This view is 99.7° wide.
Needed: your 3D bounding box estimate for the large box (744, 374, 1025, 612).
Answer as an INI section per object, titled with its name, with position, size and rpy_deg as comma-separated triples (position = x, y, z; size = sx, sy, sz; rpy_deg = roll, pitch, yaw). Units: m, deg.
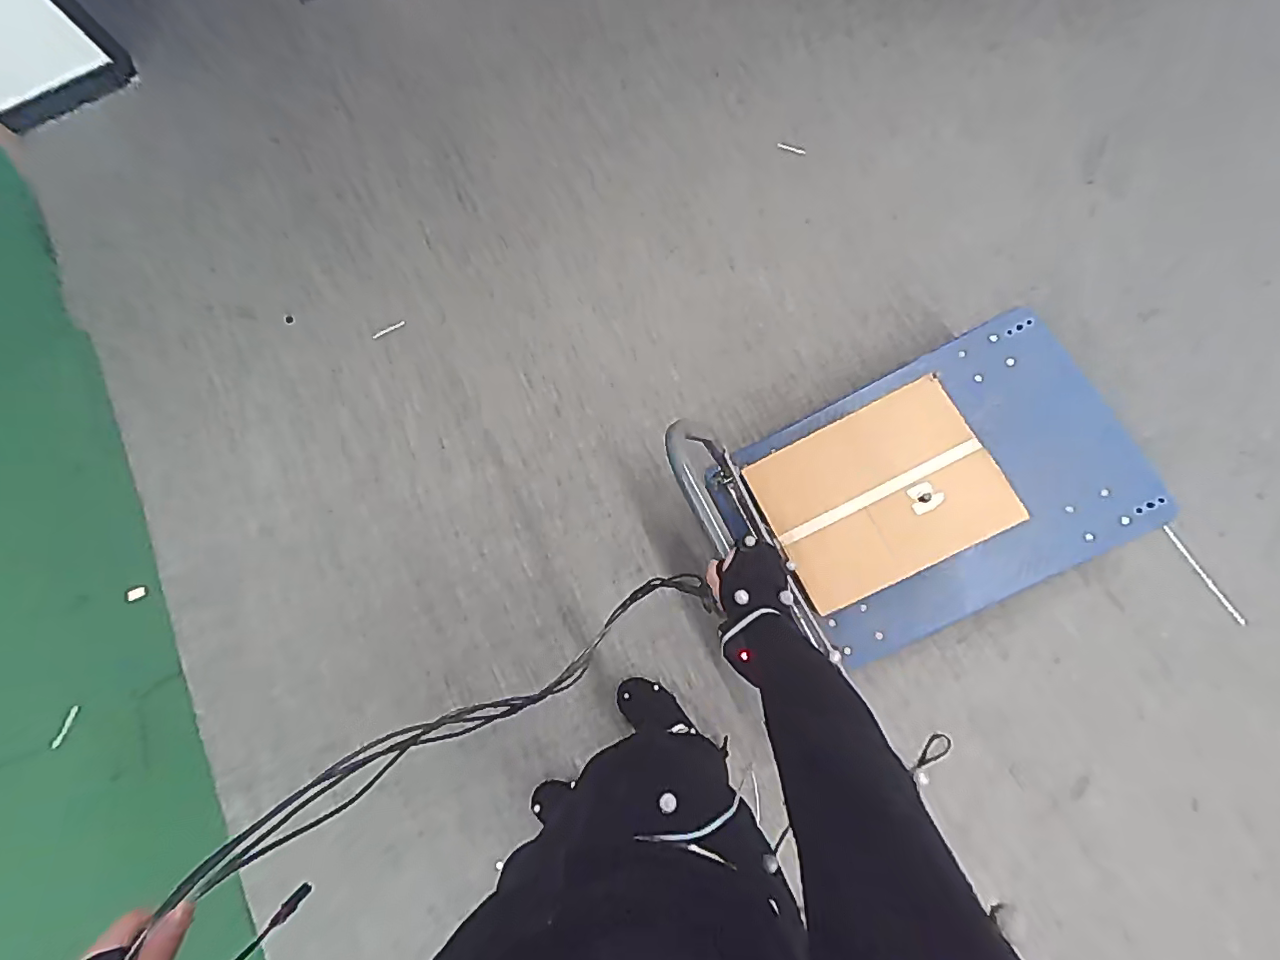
[large box]
position = 0.472, 0.049, 1.150
size = 0.408, 0.320, 0.320
rpy_deg = -27, 77, 5
